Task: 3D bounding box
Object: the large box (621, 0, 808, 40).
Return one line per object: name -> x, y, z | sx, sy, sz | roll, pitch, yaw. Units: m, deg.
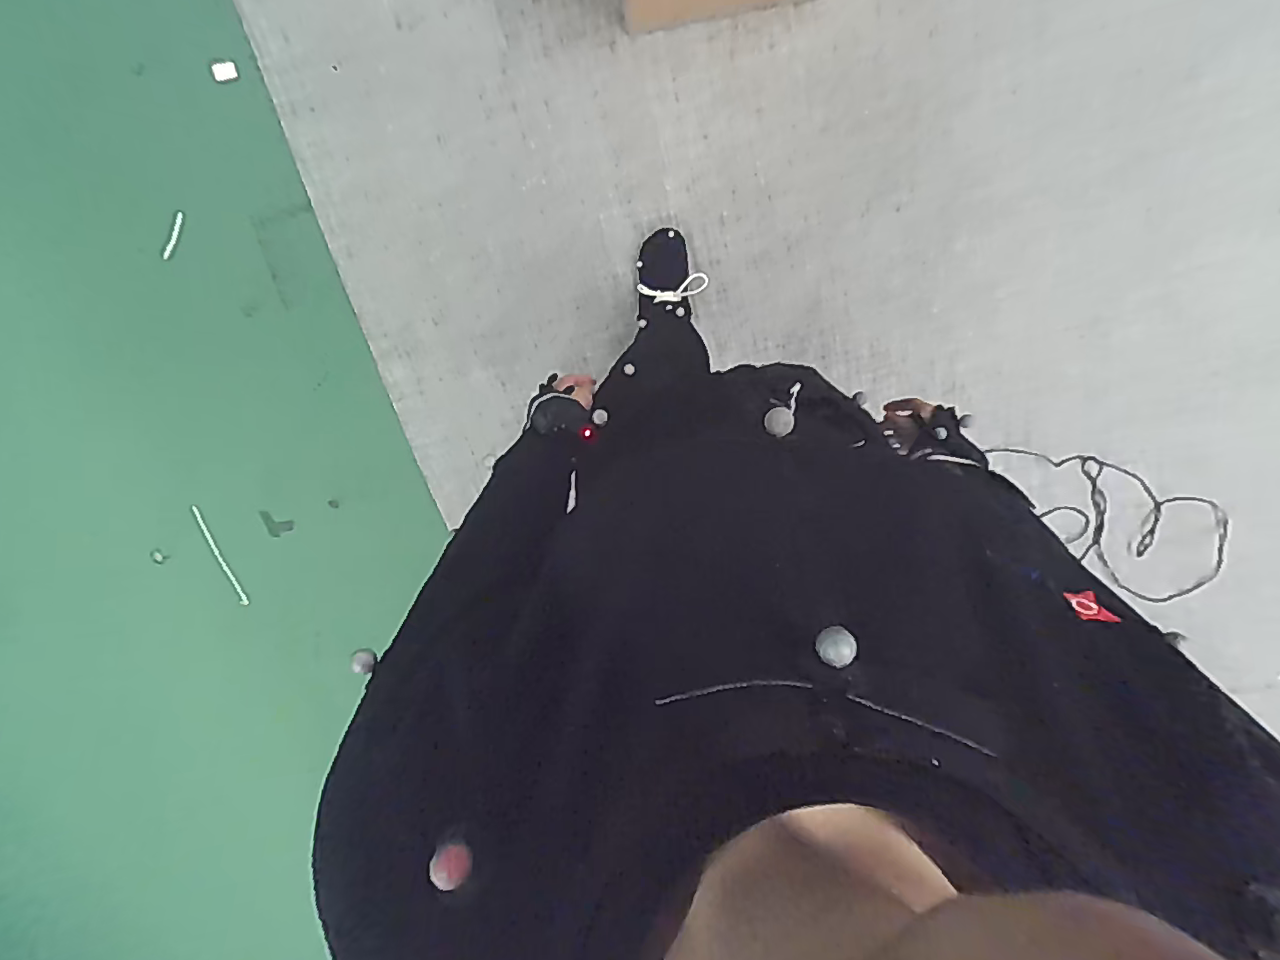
large box -> 0.139, -0.998, 0.876 | 0.408, 0.320, 0.320 | -9, 109, 4
